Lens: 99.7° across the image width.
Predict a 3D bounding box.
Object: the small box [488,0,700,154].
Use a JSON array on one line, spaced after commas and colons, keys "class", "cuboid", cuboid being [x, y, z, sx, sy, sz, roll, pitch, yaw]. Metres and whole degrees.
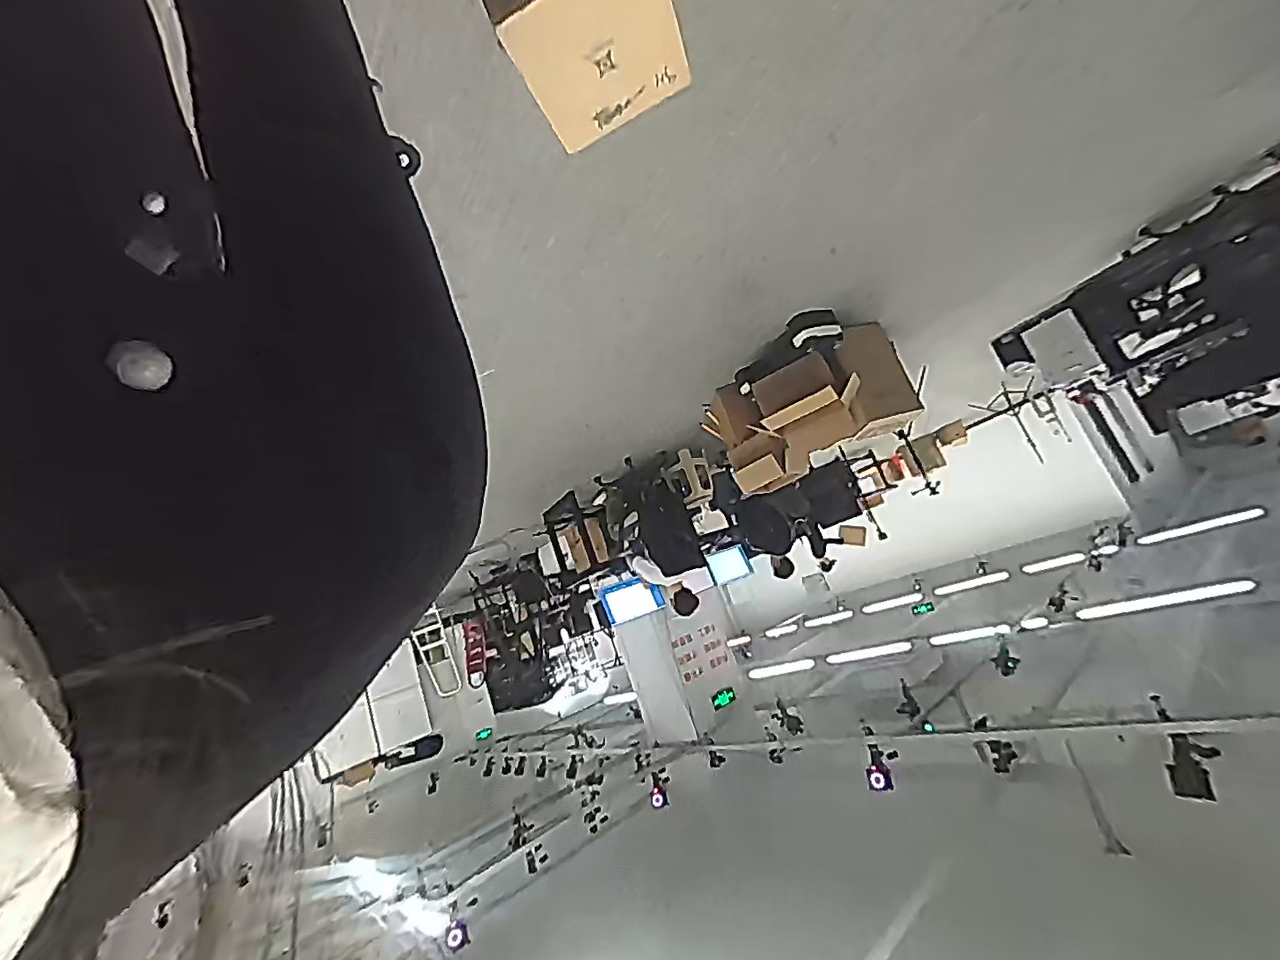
[{"class": "small box", "cuboid": [-0.061, -0.510, 0.573, 0.168, 0.176, 0.179, -27, 166, 16]}]
